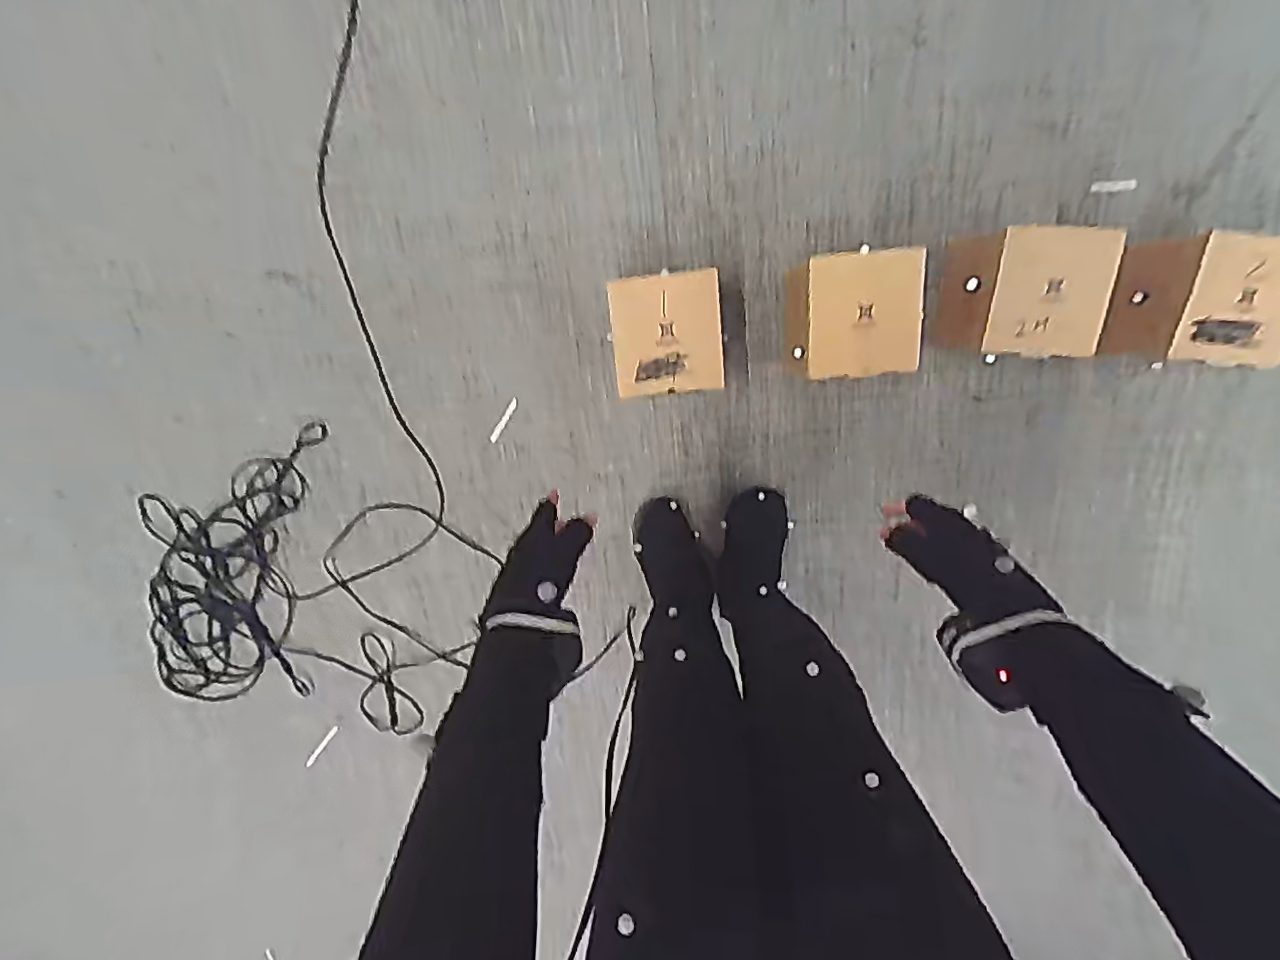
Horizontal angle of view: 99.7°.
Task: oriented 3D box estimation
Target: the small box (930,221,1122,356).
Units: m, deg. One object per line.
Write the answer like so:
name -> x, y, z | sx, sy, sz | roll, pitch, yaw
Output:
small box -> 0.586, -0.293, 0.848 | 0.168, 0.176, 0.179 | 4, 107, 2

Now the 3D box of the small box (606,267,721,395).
small box -> 0.042, -0.242, 0.887 | 0.168, 0.176, 0.179 | -5, 105, 4

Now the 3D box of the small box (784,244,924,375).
small box -> 0.331, -0.267, 0.869 | 0.168, 0.176, 0.179 | -4, 106, 4
